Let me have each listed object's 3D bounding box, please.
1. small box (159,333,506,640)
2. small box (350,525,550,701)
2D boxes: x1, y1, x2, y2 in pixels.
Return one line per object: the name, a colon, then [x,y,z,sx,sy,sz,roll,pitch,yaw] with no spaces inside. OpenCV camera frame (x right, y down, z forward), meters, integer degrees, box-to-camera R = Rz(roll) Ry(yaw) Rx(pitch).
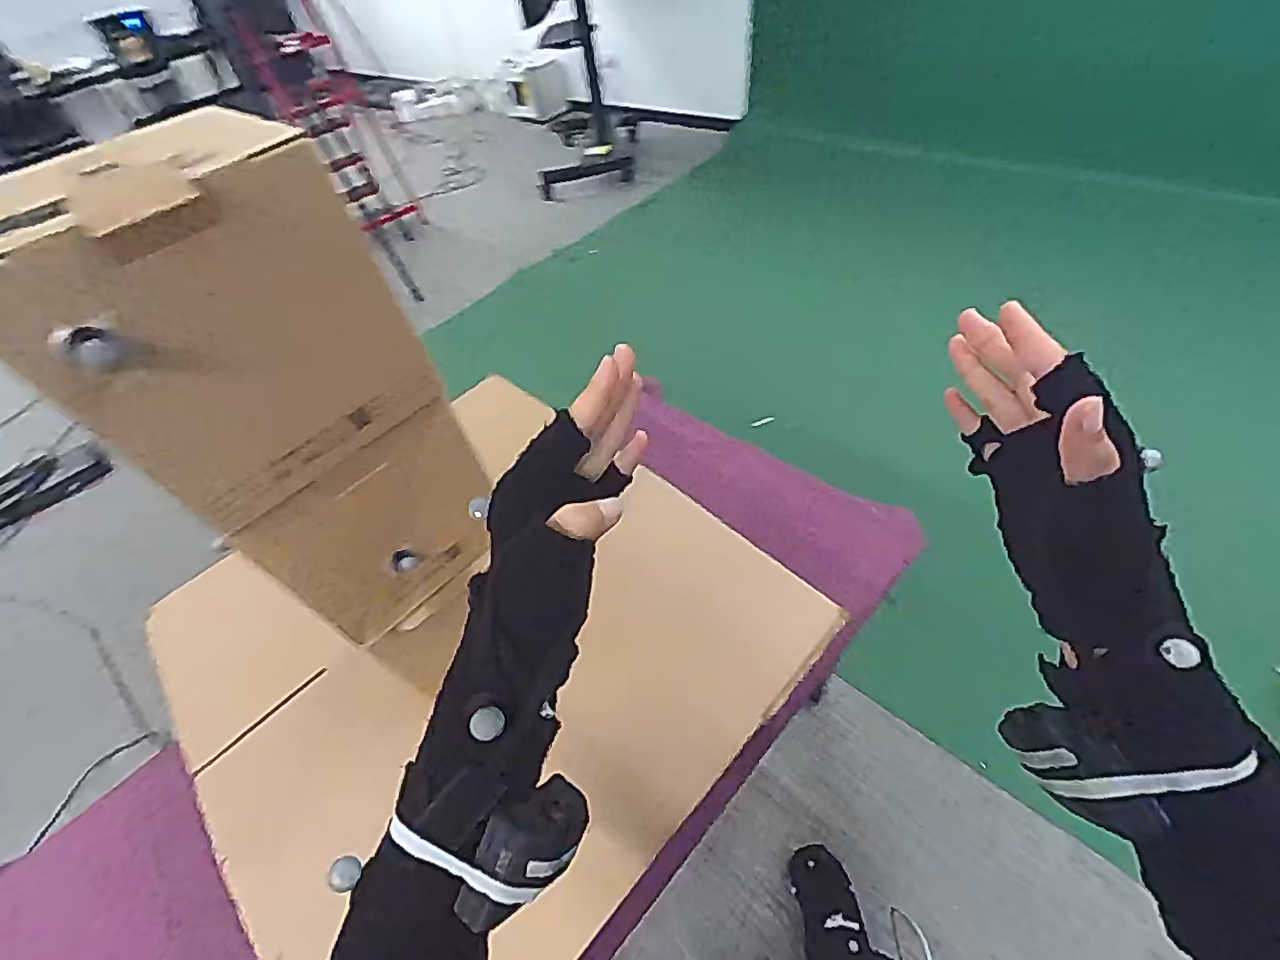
small box: [-0.250,0.006,0.471,0.179,0.176,0.168,31,62,32]
small box: [-0.229,0.108,0.597,0.179,0.176,0.168,33,64,33]
